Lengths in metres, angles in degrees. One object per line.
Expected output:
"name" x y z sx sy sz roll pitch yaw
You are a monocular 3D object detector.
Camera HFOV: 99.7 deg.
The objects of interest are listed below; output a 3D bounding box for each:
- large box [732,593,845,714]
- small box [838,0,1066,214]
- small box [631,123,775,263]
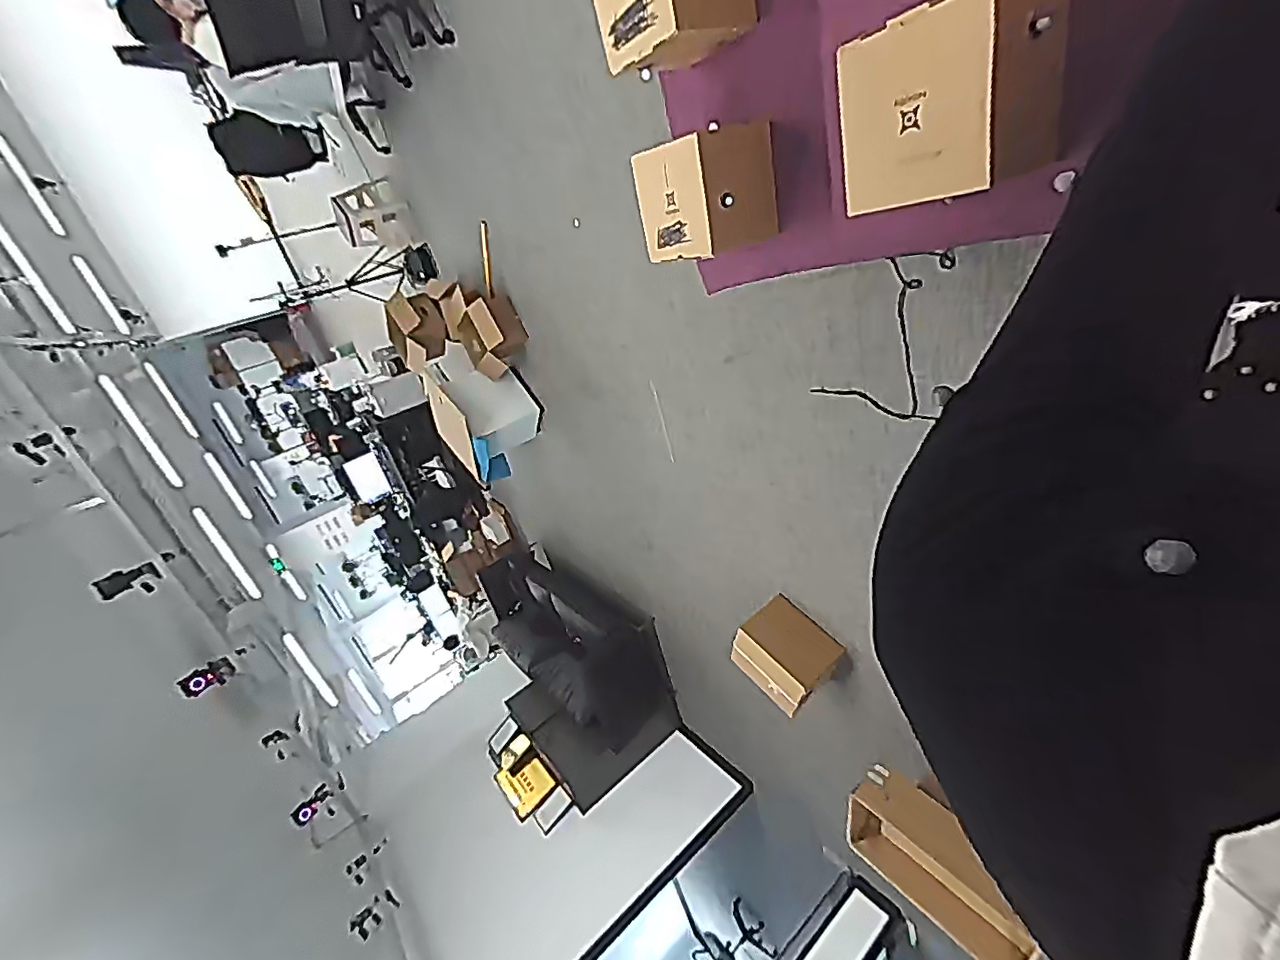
"large box" 0.718 0.842 2.661 0.408 0.320 0.320 39 147 32
"small box" 0.350 -0.422 0.613 0.168 0.176 0.179 20 132 51
"small box" 0.114 -0.487 0.929 0.168 0.176 0.179 21 132 49
